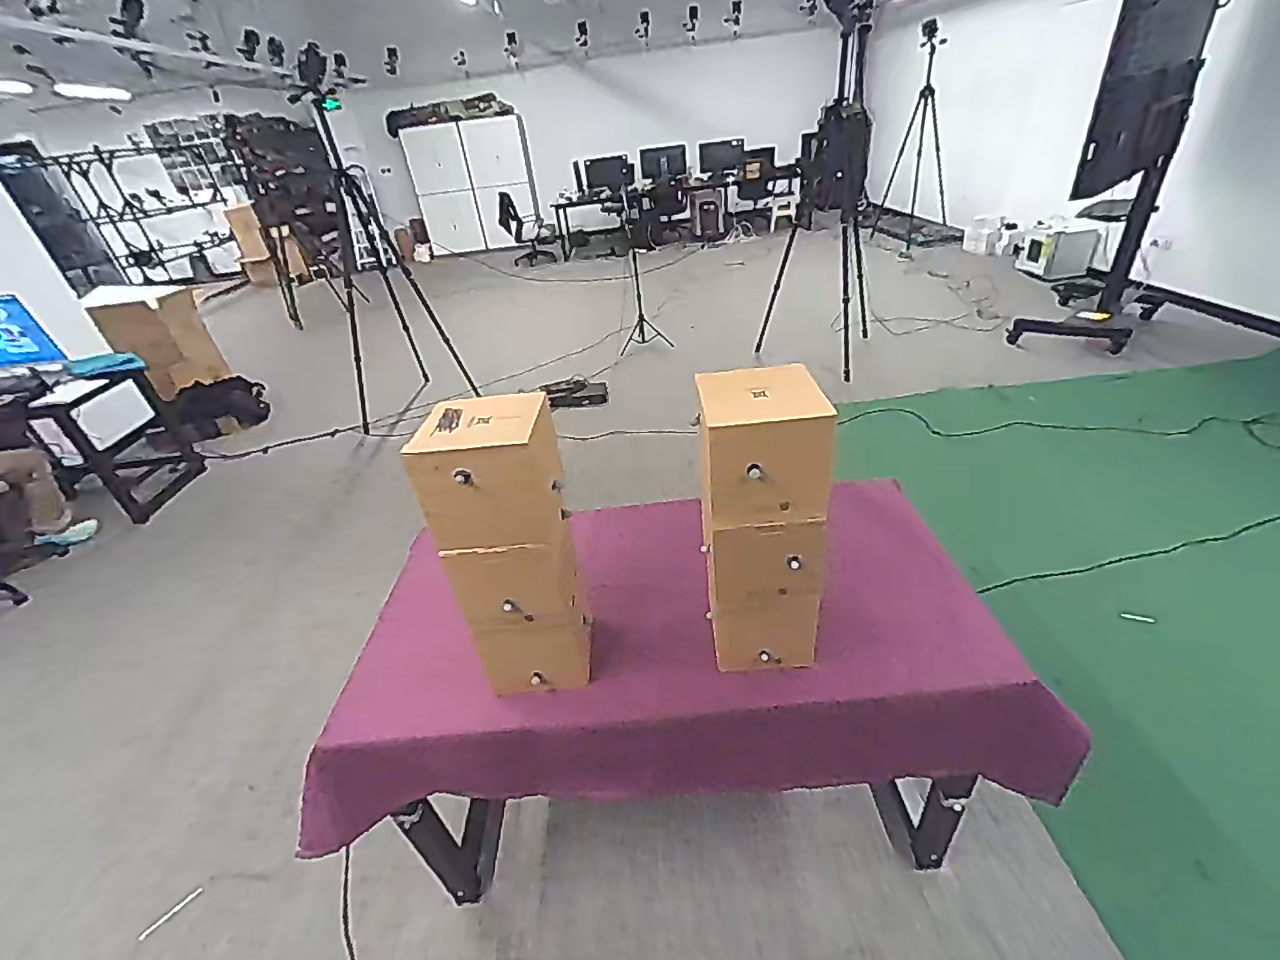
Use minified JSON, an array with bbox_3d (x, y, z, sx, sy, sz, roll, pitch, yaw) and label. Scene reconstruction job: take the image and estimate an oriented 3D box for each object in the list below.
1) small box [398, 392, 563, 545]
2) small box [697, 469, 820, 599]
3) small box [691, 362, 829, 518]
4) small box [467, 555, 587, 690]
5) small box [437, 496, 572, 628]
[{"bbox_3d":[-0.225,-0.016,0.813,0.179,0.176,0.168,-5,33,3],"label":"small box"},{"bbox_3d":[0.187,0.080,0.887,0.168,0.176,0.179,-6,33,2],"label":"small box"},{"bbox_3d":[0.169,-0.055,0.798,0.168,0.176,0.179,-6,33,2],"label":"small box"},{"bbox_3d":[-0.194,0.260,0.990,0.179,0.176,0.168,-7,33,0],"label":"small box"},{"bbox_3d":[-0.212,0.121,0.903,0.168,0.176,0.179,-7,34,2],"label":"small box"}]
